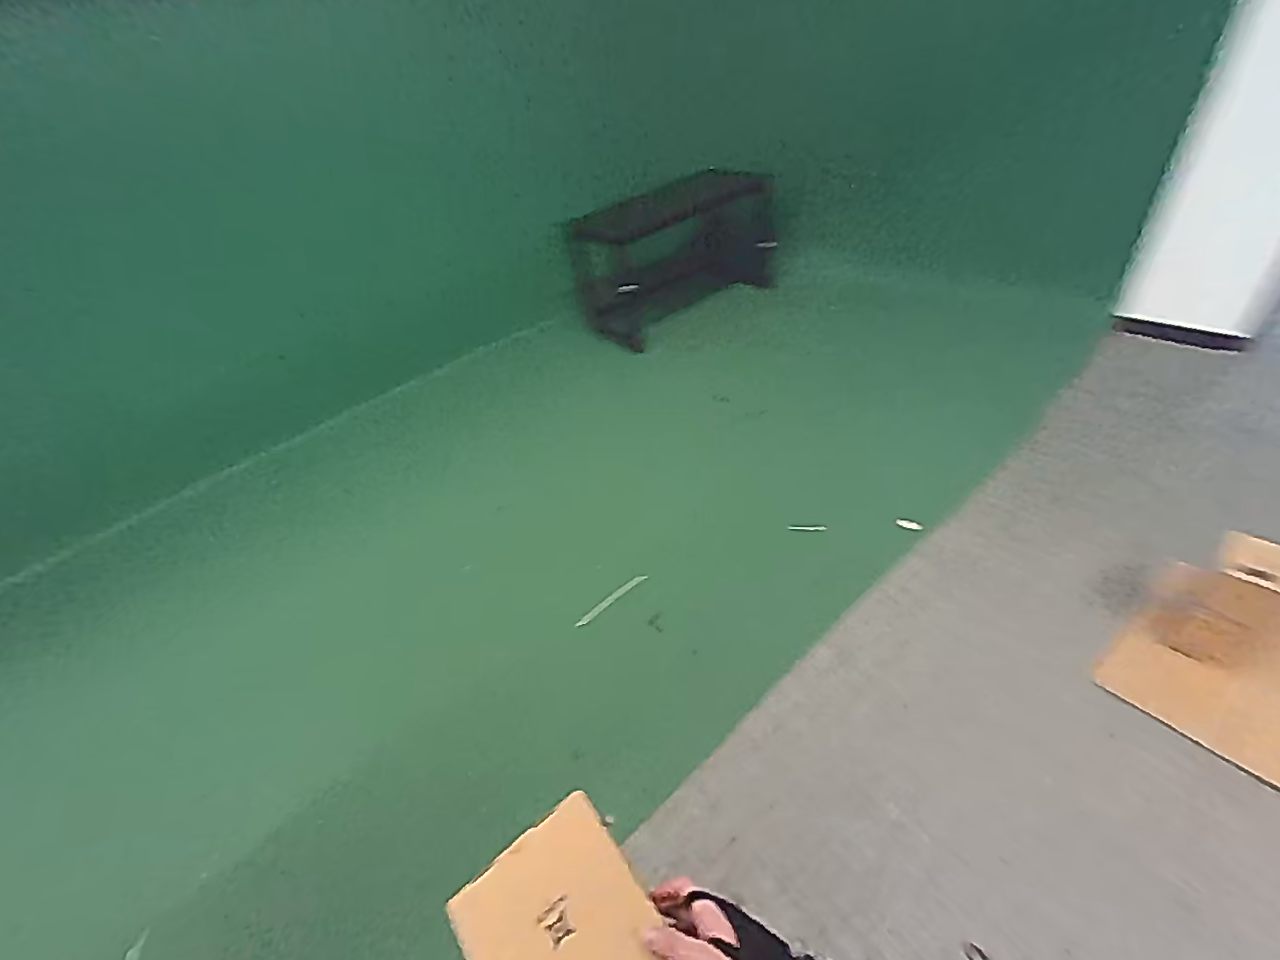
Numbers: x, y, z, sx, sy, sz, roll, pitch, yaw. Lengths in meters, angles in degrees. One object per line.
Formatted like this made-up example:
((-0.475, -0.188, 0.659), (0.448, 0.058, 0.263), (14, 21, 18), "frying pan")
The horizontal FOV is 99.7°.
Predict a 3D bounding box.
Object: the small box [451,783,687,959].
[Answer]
((-0.066, 0.475, 0.579), (0.168, 0.176, 0.179), (-34, 48, -21), "small box")

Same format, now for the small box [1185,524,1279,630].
((1.577, 0.254, 1.407), (0.179, 0.176, 0.168), (-37, 45, -26), "small box")

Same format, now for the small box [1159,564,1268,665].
((1.606, 0.375, 1.513), (0.168, 0.176, 0.179), (26, 55, 37), "small box")
